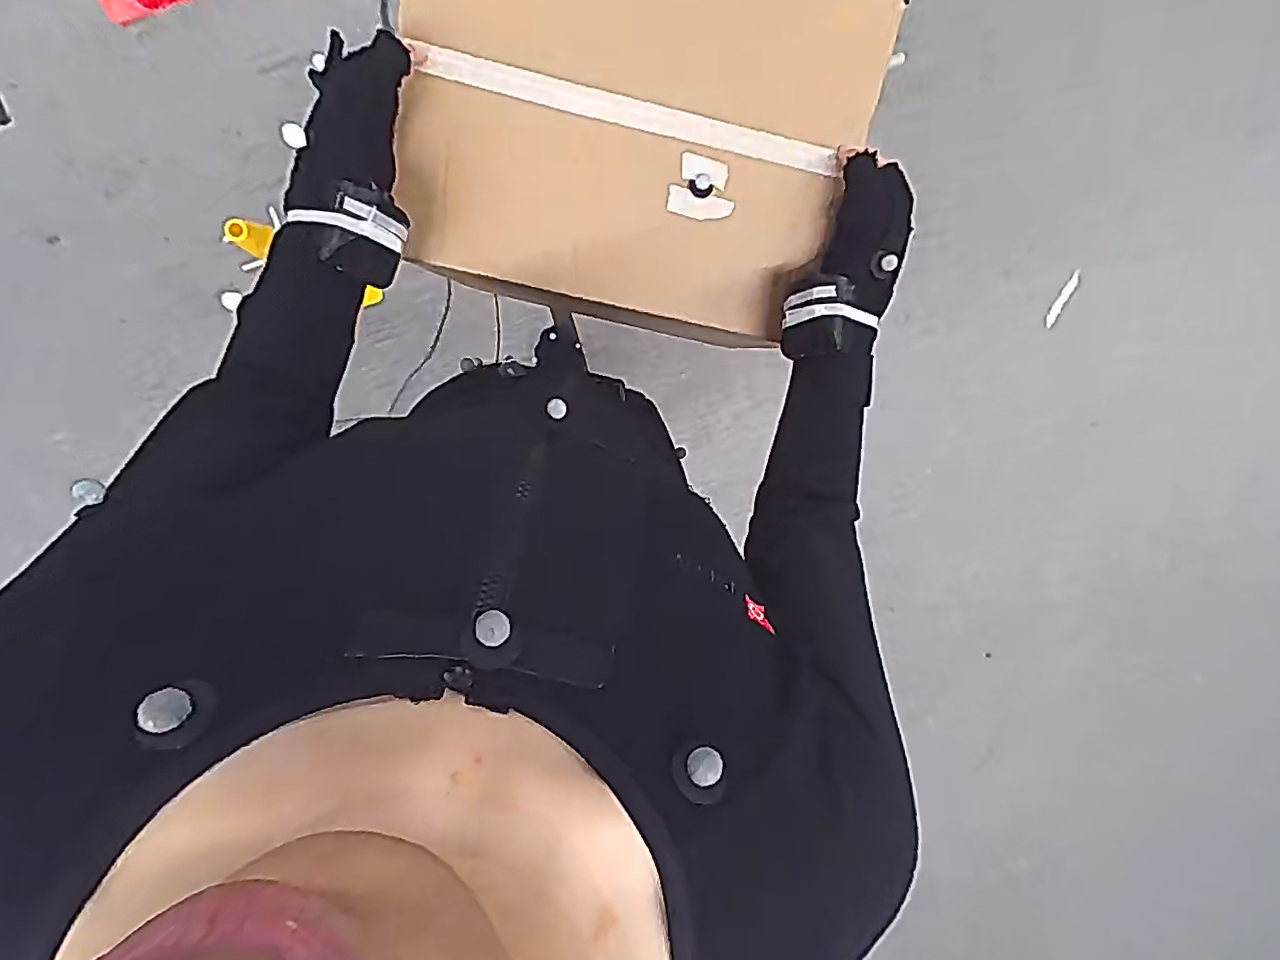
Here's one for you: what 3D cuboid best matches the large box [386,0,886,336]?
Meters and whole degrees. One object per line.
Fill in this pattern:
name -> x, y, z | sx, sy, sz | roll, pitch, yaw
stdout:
large box -> -0.017, -0.358, 0.612 | 0.408, 0.320, 0.320 | 10, 103, -6

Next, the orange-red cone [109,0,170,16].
orange-red cone -> -1.116, -1.134, 1.038 | 0.198, 0.360, 0.199 | -19, 102, 1
